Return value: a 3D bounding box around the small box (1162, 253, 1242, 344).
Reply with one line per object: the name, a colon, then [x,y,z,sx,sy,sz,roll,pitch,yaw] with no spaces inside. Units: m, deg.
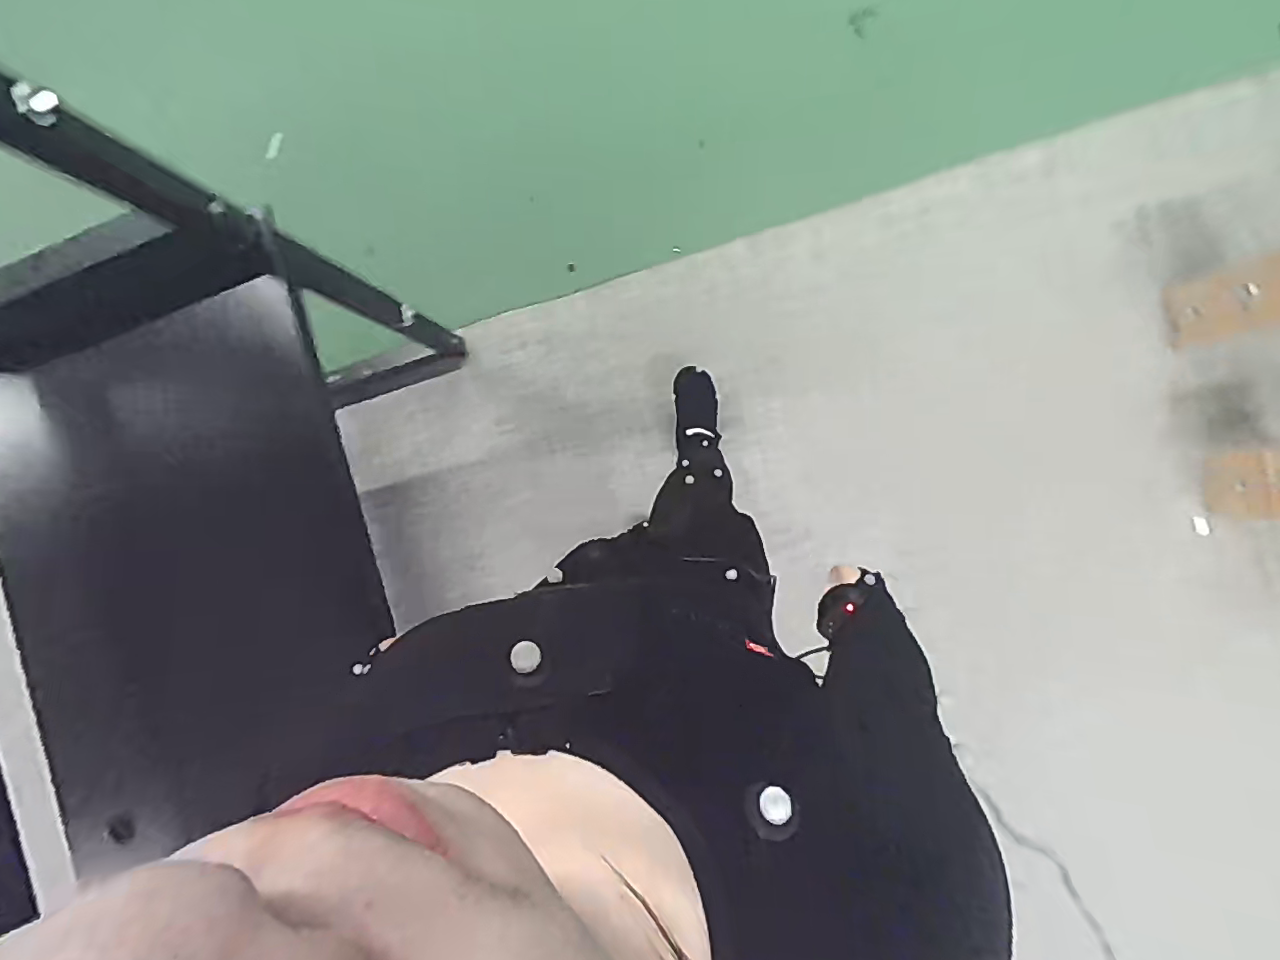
small box: [1.393,-0.433,1.278,0.179,0.176,0.168,-12,90,7]
